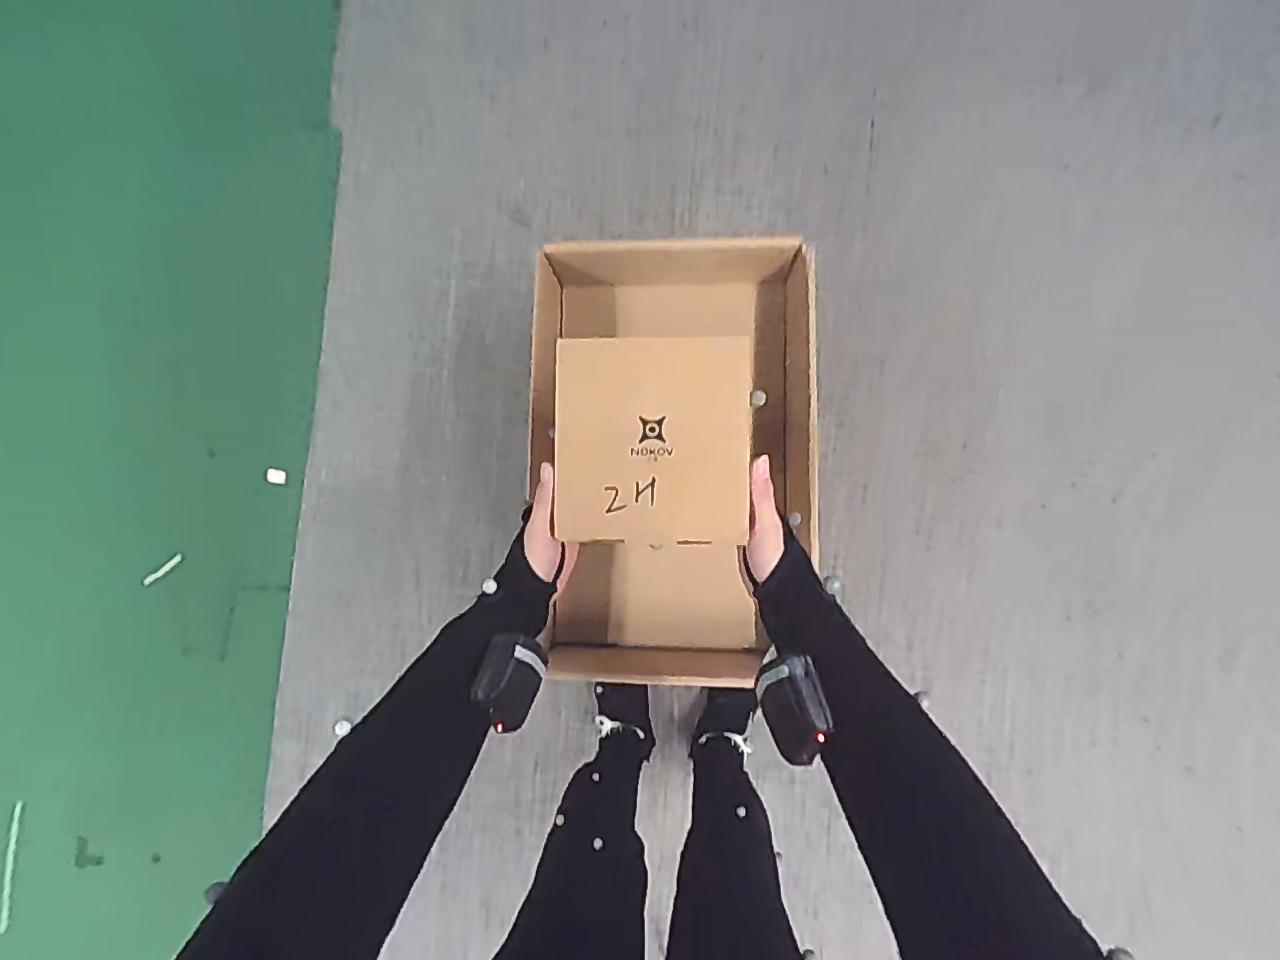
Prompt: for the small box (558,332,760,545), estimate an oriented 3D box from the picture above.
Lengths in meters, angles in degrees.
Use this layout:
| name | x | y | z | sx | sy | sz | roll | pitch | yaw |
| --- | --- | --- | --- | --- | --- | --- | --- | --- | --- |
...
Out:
| name | x | y | z | sx | sy | sz | roll | pitch | yaw |
| --- | --- | --- | --- | --- | --- | --- | --- | --- | --- |
| small box | 0.020 | -0.033 | 0.524 | 0.168 | 0.176 | 0.179 | 0 | 89 | 5 |
